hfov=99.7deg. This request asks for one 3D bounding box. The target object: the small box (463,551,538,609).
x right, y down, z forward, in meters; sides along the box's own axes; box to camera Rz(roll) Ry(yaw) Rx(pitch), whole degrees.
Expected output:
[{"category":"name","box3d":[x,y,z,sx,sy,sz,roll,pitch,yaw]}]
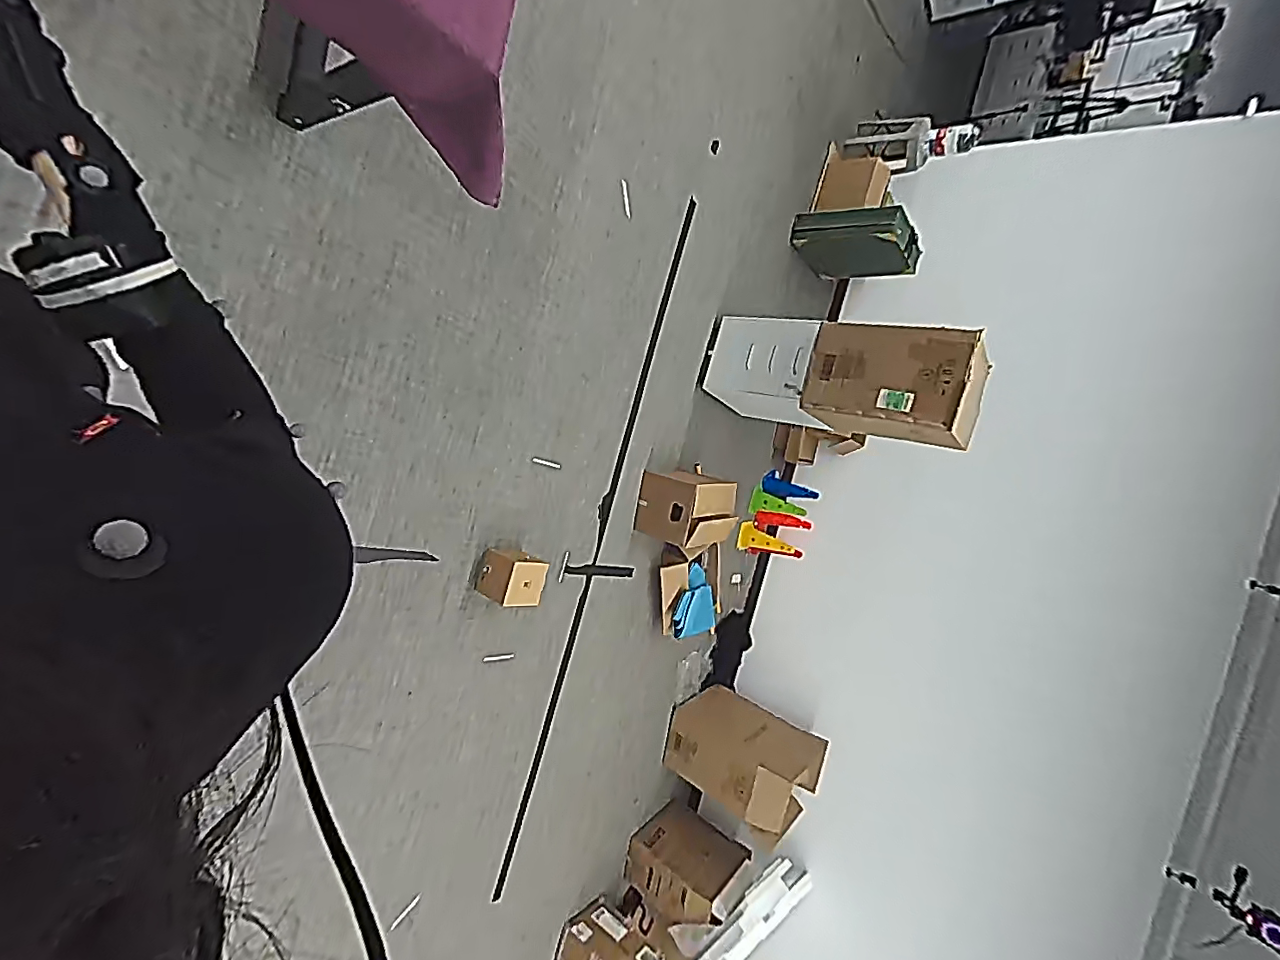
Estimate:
[{"category":"small box","box3d":[-0.510,0.365,1.979,0.179,0.176,0.168,17,88,-54]}]
